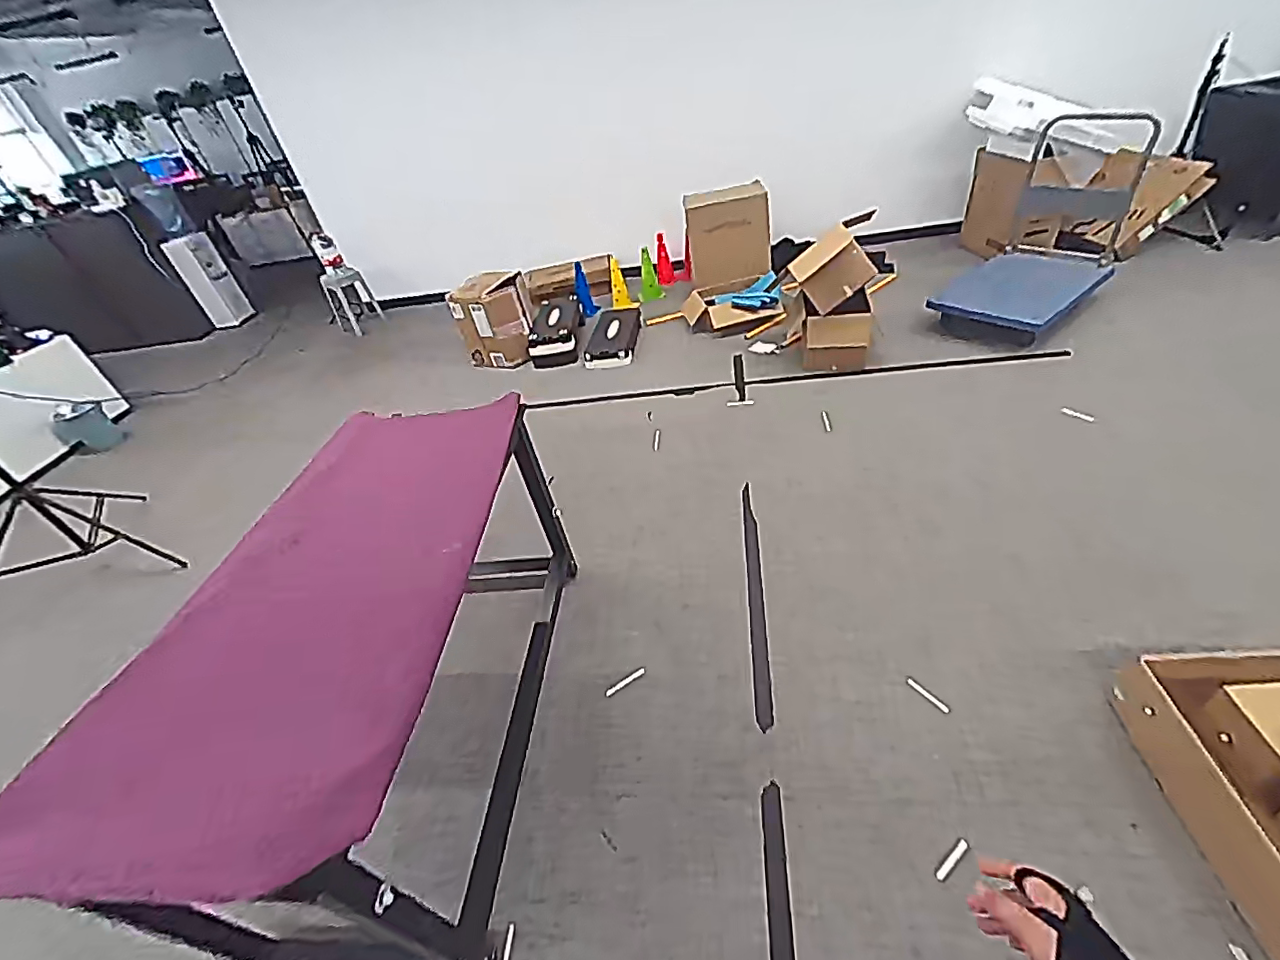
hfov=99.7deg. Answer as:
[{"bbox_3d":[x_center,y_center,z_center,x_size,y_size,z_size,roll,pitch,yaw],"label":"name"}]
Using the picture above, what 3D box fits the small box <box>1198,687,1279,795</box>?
[{"bbox_3d":[1.385,0.569,1.176,0.179,0.176,0.168,-6,42,7],"label":"small box"}]
